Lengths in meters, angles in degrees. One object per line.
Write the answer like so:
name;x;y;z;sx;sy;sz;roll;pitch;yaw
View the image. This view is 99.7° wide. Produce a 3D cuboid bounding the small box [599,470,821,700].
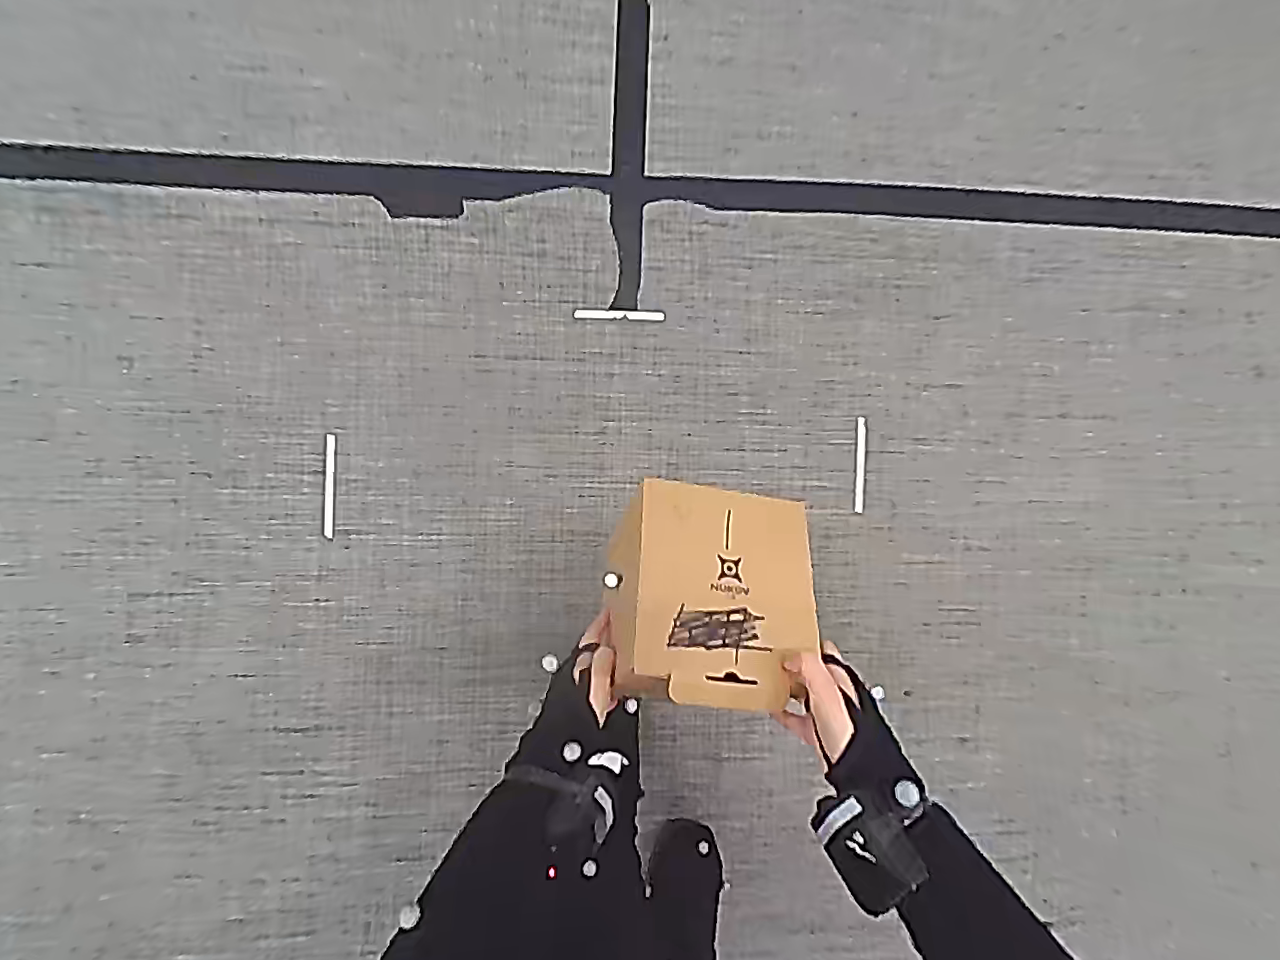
small box;0.057;0.116;0.541;0.168;0.176;0.179;9;59;-11
